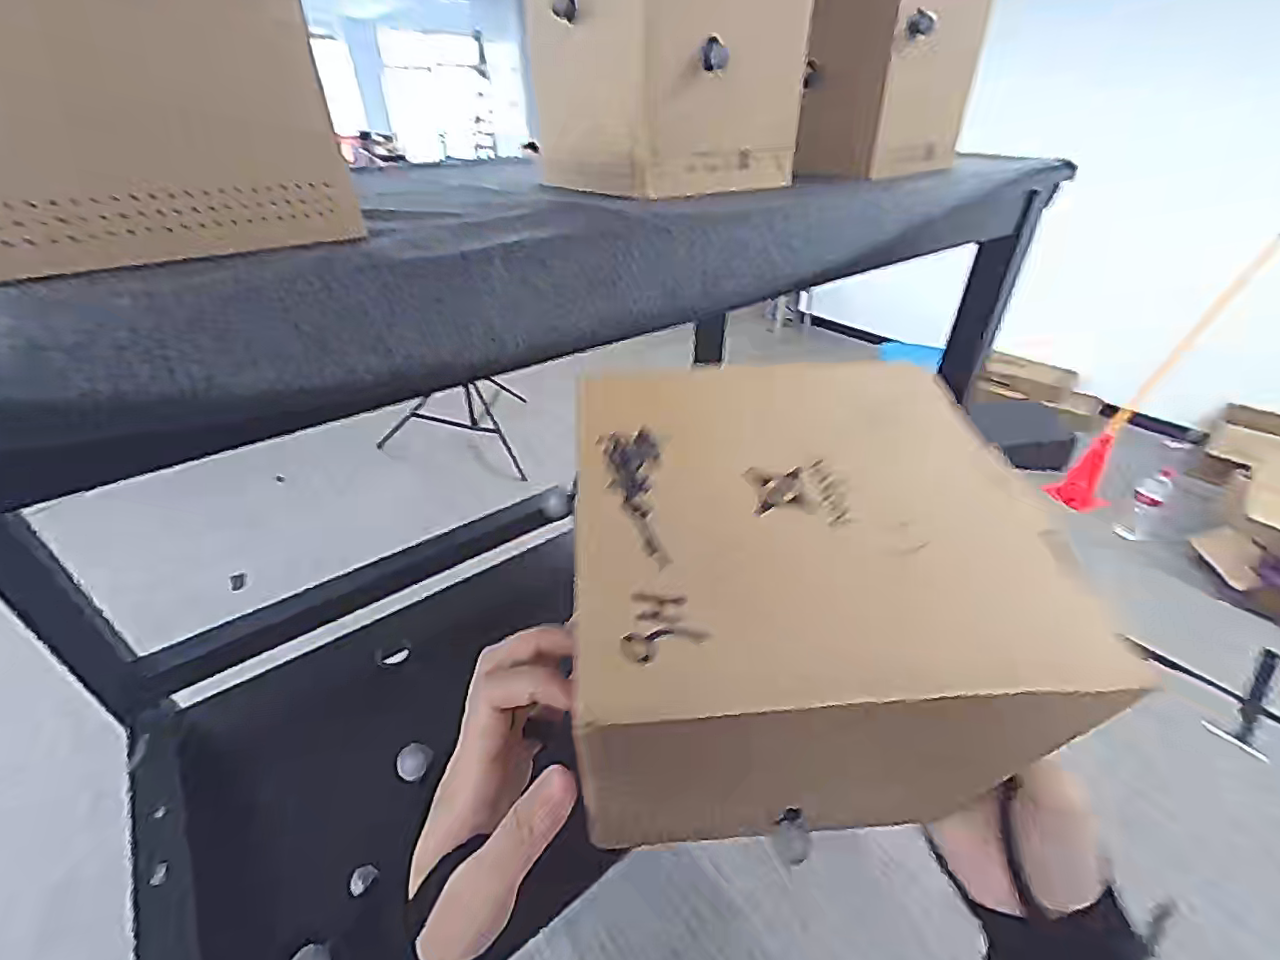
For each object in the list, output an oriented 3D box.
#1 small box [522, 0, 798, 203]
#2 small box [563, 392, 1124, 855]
[{"bbox_3d":[0.018,-0.340,0.464,0.168,0.176,0.179,-22,38,-29],"label":"small box"},{"bbox_3d":[0.059,0.073,0.273,0.179,0.176,0.168,-1,45,-2],"label":"small box"}]
